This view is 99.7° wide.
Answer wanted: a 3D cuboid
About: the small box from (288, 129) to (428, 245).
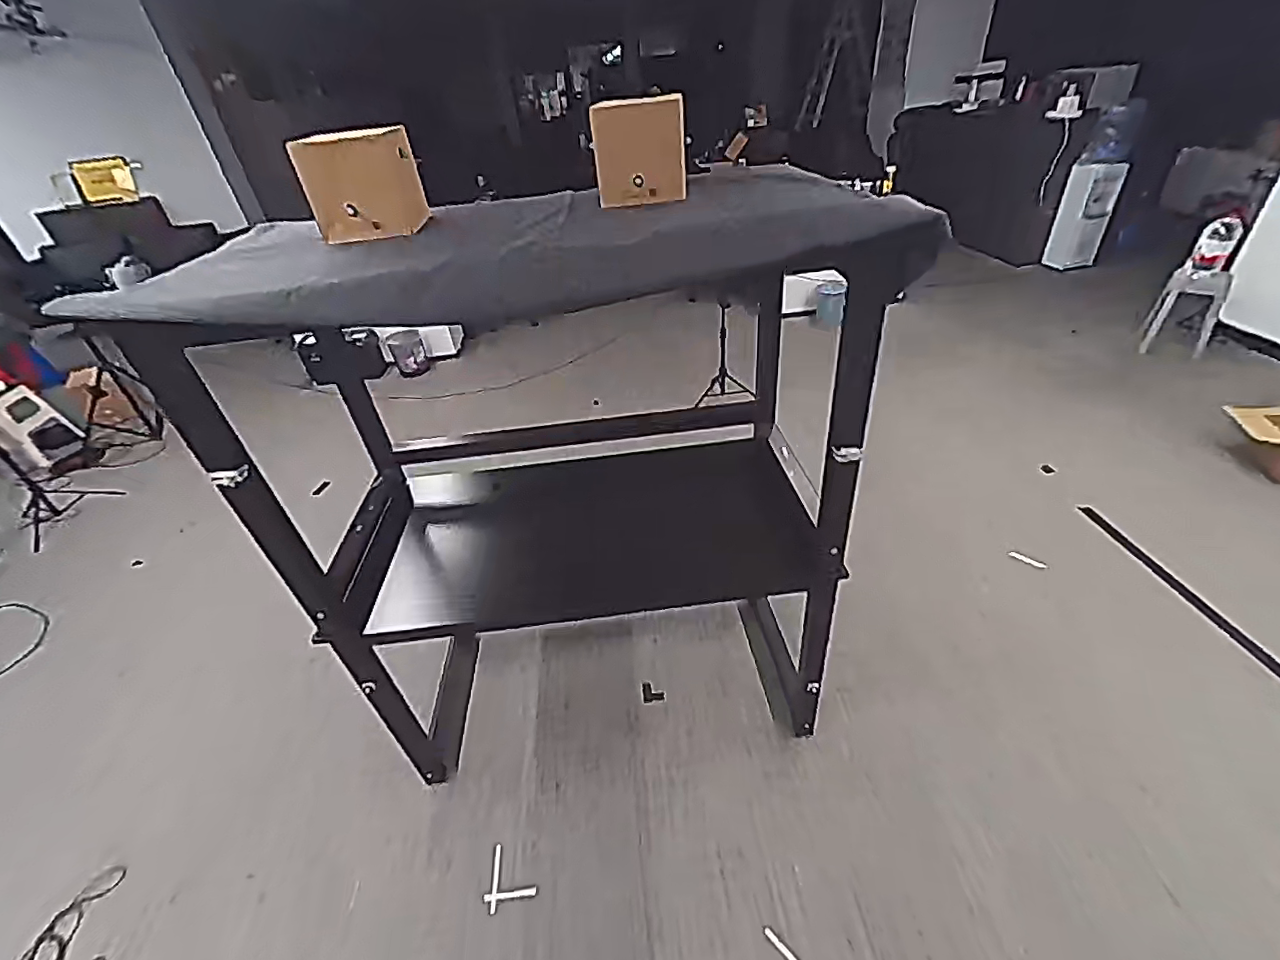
[{"bbox_3d":[-0.526,-0.563,1.040,0.168,0.176,0.179,-8,37,-2],"label":"small box"}]
